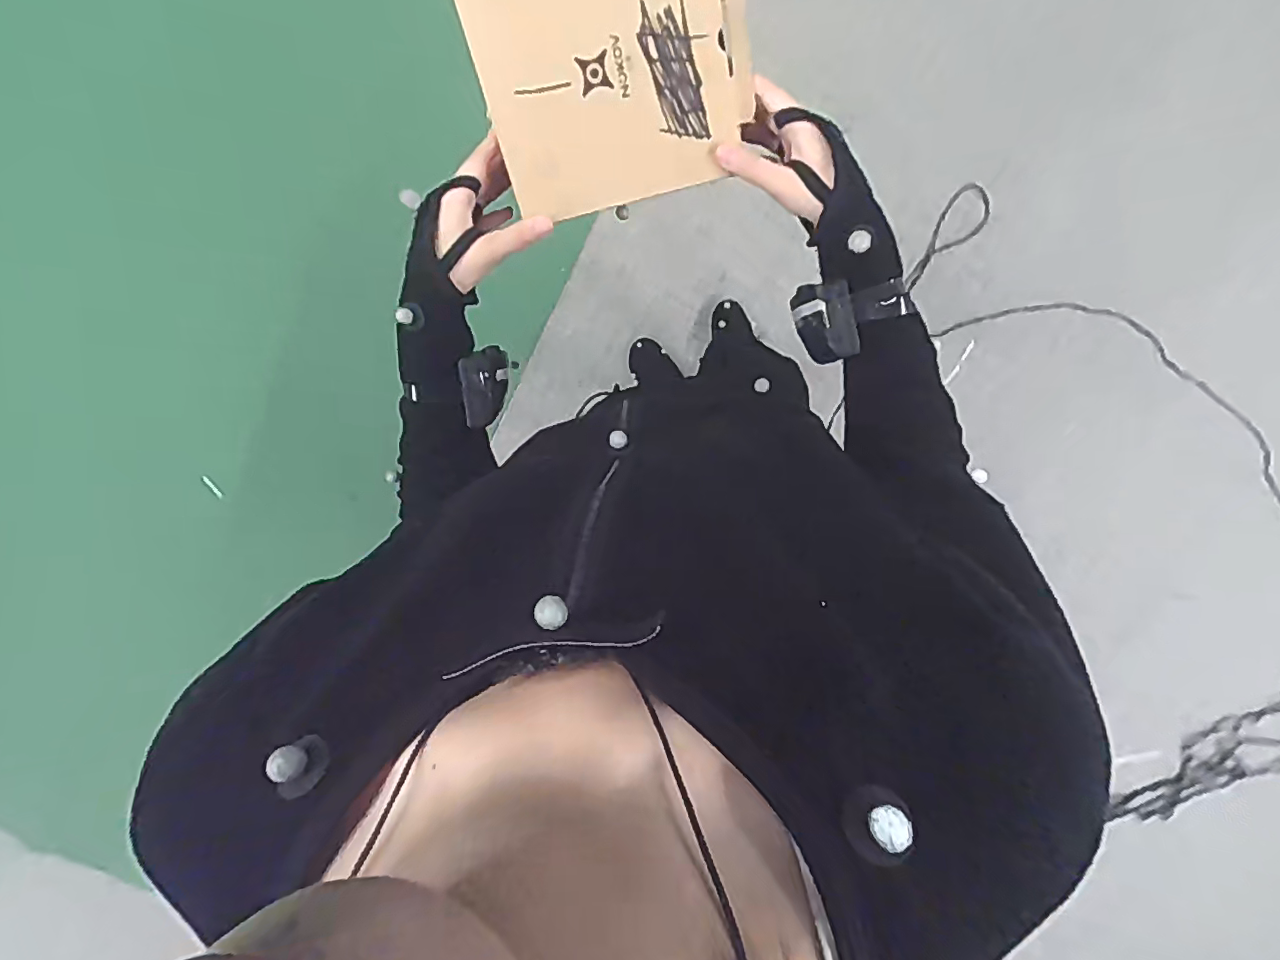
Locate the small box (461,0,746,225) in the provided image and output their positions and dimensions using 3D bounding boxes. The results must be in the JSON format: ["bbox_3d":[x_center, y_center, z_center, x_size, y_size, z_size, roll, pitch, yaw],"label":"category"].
[{"bbox_3d":[-0.026,-0.320,0.440,0.179,0.176,0.168,-12,119,3],"label":"small box"}]
